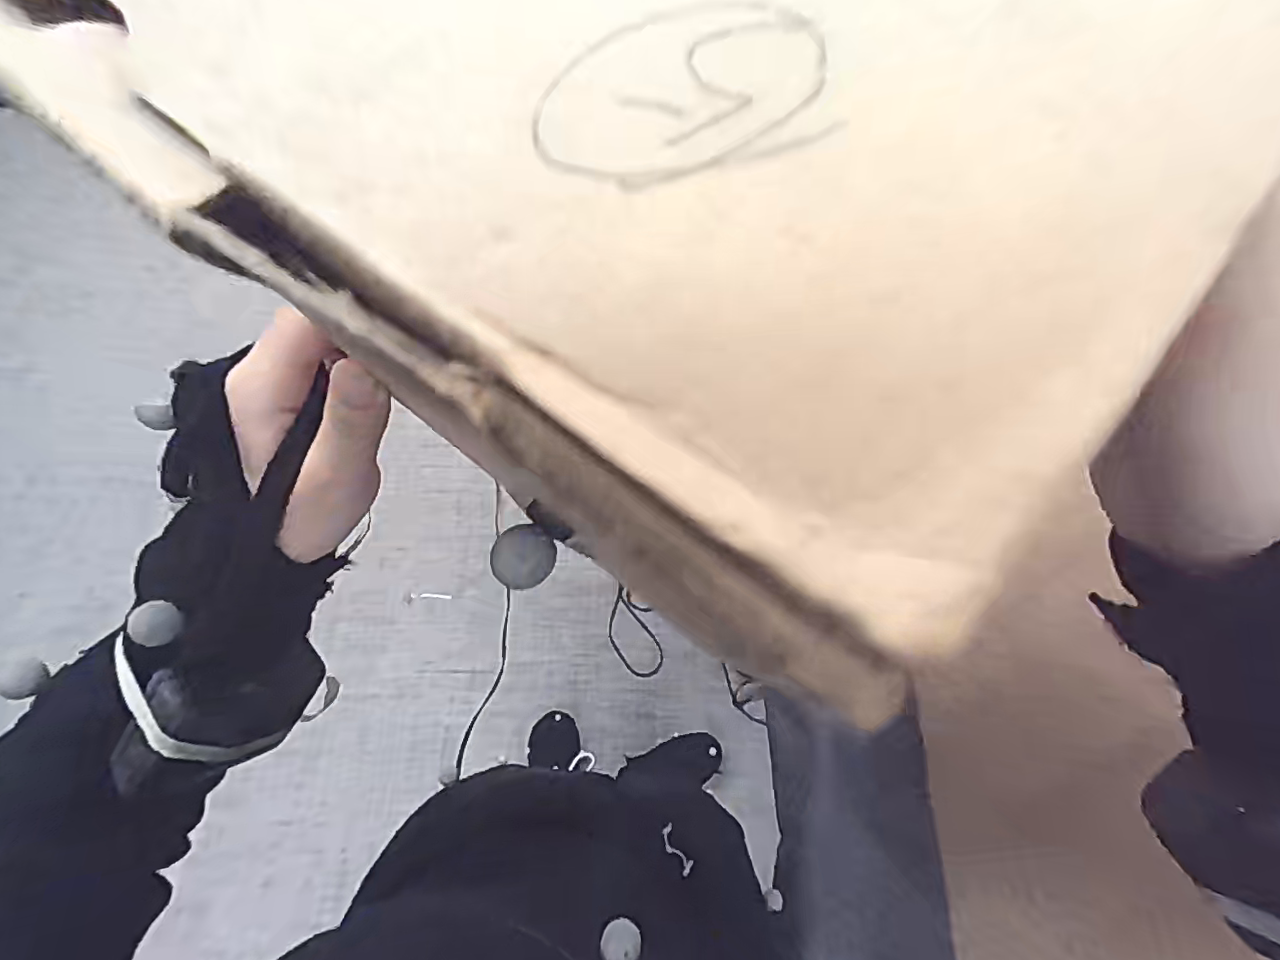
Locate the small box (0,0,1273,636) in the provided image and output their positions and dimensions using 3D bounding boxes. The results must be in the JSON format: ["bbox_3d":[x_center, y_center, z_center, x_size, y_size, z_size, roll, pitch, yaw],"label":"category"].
[{"bbox_3d":[0.005,-0.078,0.139,0.168,0.176,0.179,37,79,13],"label":"small box"}]
